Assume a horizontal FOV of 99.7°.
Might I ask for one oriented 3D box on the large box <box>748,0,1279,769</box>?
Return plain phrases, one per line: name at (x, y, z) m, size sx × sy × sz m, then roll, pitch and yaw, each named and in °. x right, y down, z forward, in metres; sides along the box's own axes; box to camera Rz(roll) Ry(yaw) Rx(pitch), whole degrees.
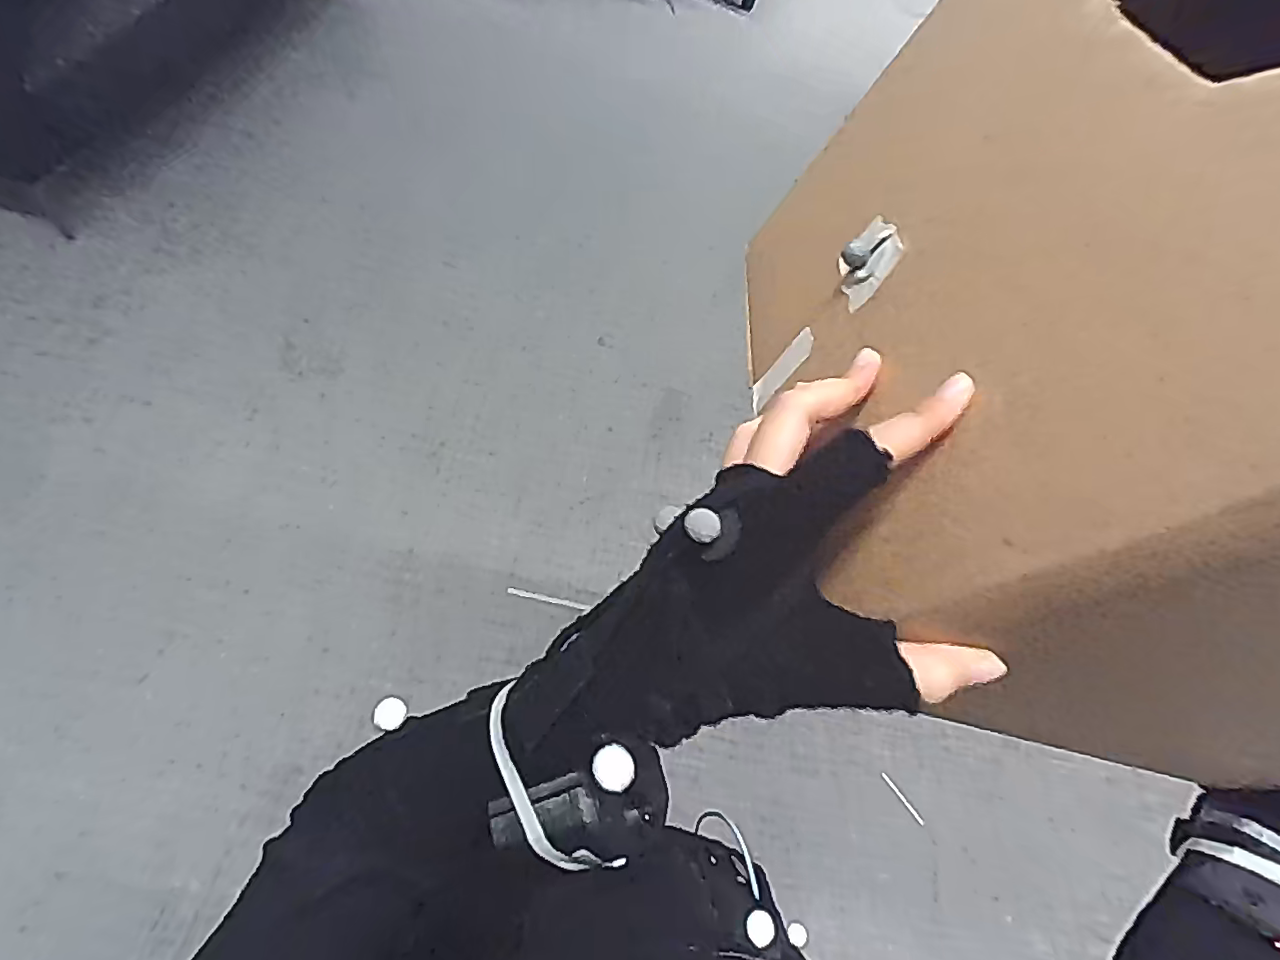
large box at (0.314, -0.053, 0.285) m, size 0.408 × 0.320 × 0.320 m, roll 21°, pitch 53°, yaw -22°
